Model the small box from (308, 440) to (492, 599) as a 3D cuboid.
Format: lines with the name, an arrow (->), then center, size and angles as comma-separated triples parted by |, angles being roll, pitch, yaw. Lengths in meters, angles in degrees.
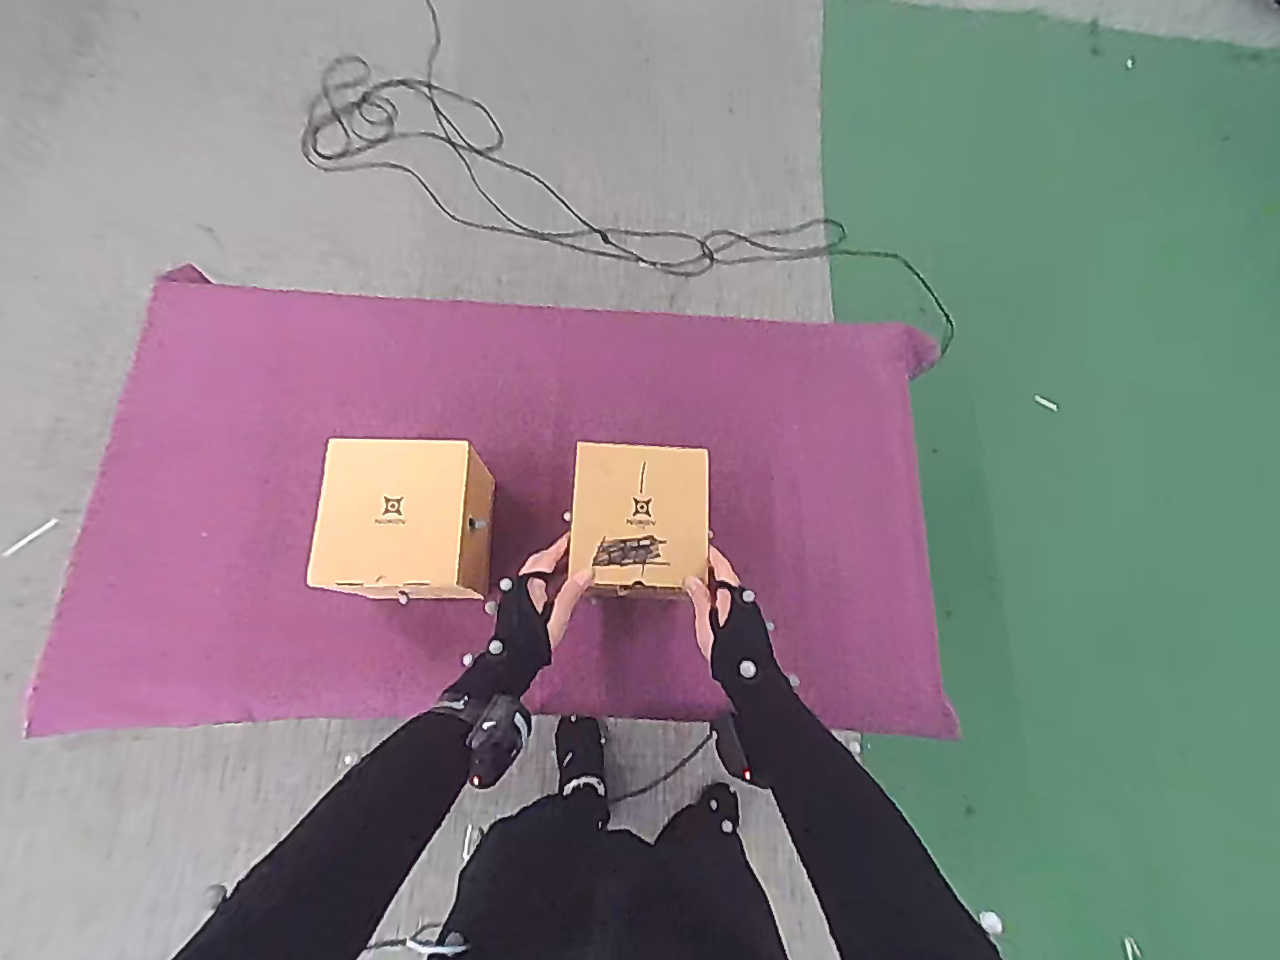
small box -> -0.294, 0.059, 0.705 | 0.168, 0.176, 0.179 | 1, 75, -5

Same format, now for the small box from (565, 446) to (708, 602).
small box -> -0.006, 0.068, 0.723 | 0.168, 0.176, 0.179 | 4, 73, -4
